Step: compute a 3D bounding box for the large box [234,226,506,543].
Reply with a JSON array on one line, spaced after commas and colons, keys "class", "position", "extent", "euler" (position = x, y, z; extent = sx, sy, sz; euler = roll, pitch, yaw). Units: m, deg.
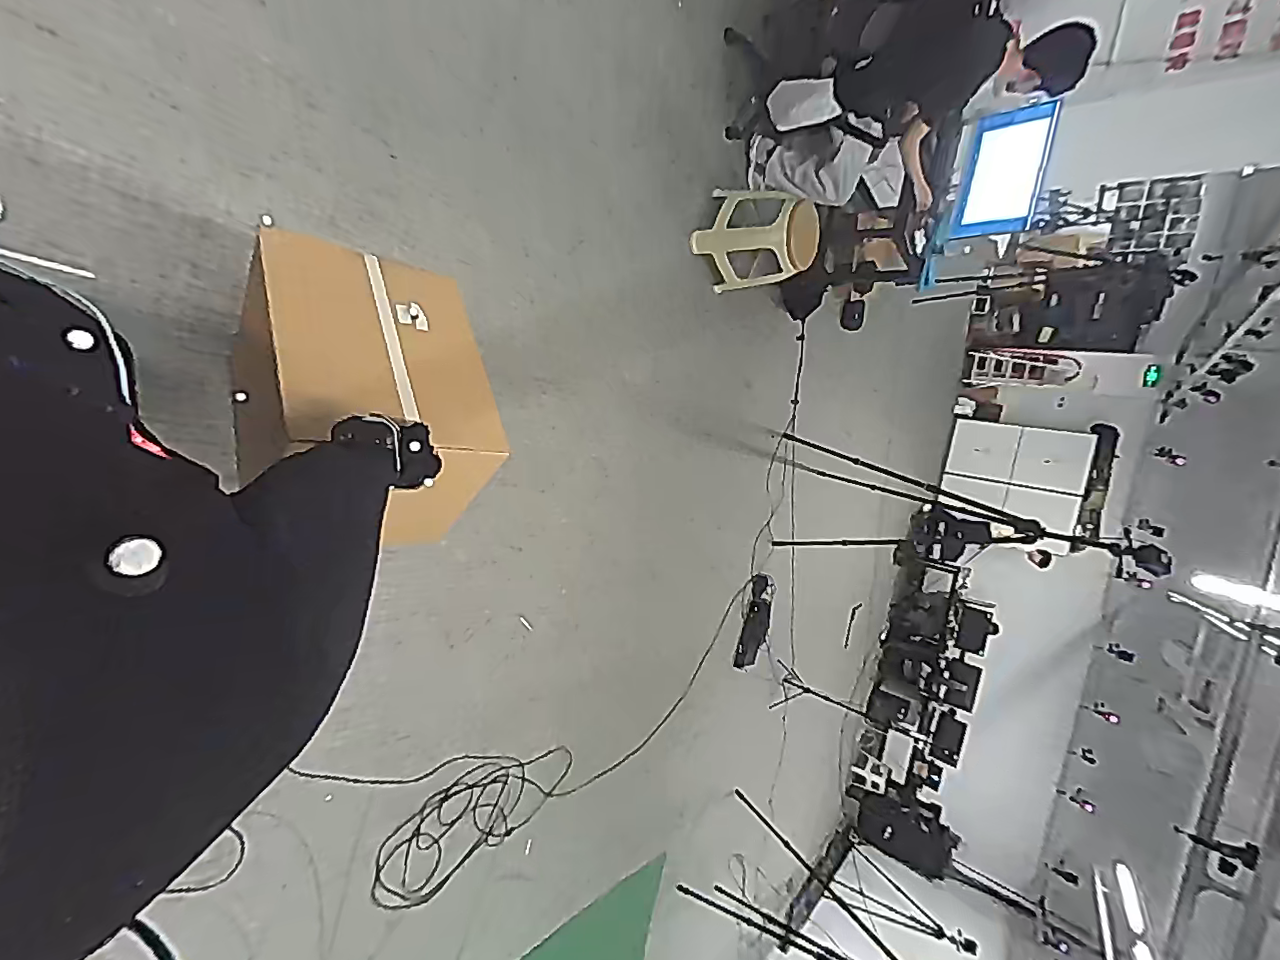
[{"class": "large box", "position": [-0.488, -0.143, 0.945], "extent": [0.320, 0.320, 0.408], "euler": [1, 56, -45]}]
